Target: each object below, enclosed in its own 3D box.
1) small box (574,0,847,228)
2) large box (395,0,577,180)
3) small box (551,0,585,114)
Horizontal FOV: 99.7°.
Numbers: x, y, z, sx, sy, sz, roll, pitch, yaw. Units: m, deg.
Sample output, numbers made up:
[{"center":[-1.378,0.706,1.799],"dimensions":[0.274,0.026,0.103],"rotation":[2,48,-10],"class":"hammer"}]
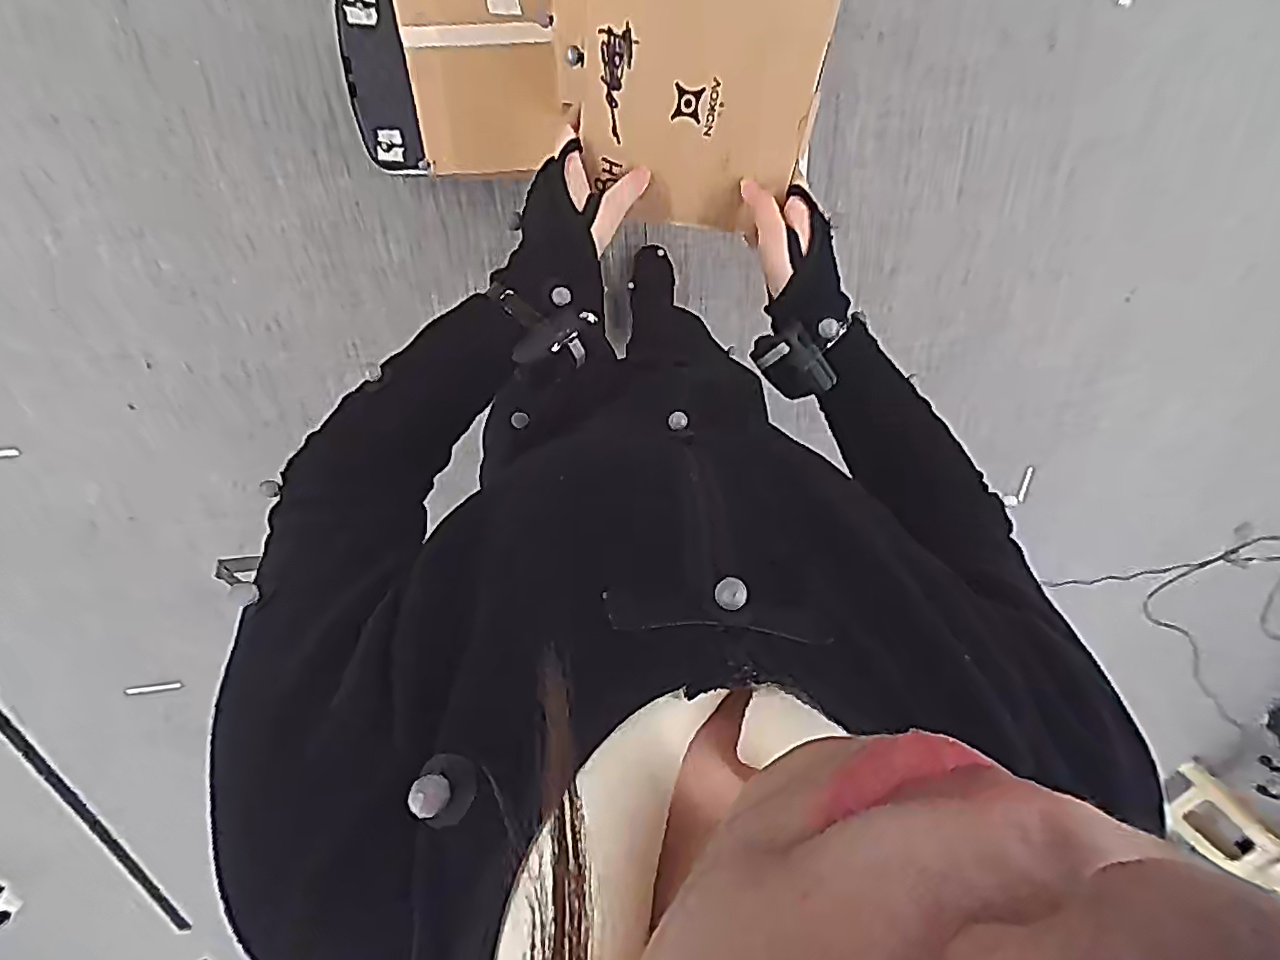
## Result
[{"center":[0.039,-0.328,0.458],"dimensions":[0.179,0.176,0.168],"rotation":[3,124,-10],"class":"small box"},{"center":[-0.129,-0.660,0.848],"dimensions":[0.408,0.320,0.320],"rotation":[-6,117,-5],"class":"large box"},{"center":[-0.014,-0.545,0.647],"dimensions":[0.179,0.176,0.168],"rotation":[-4,119,-7],"class":"small box"}]
